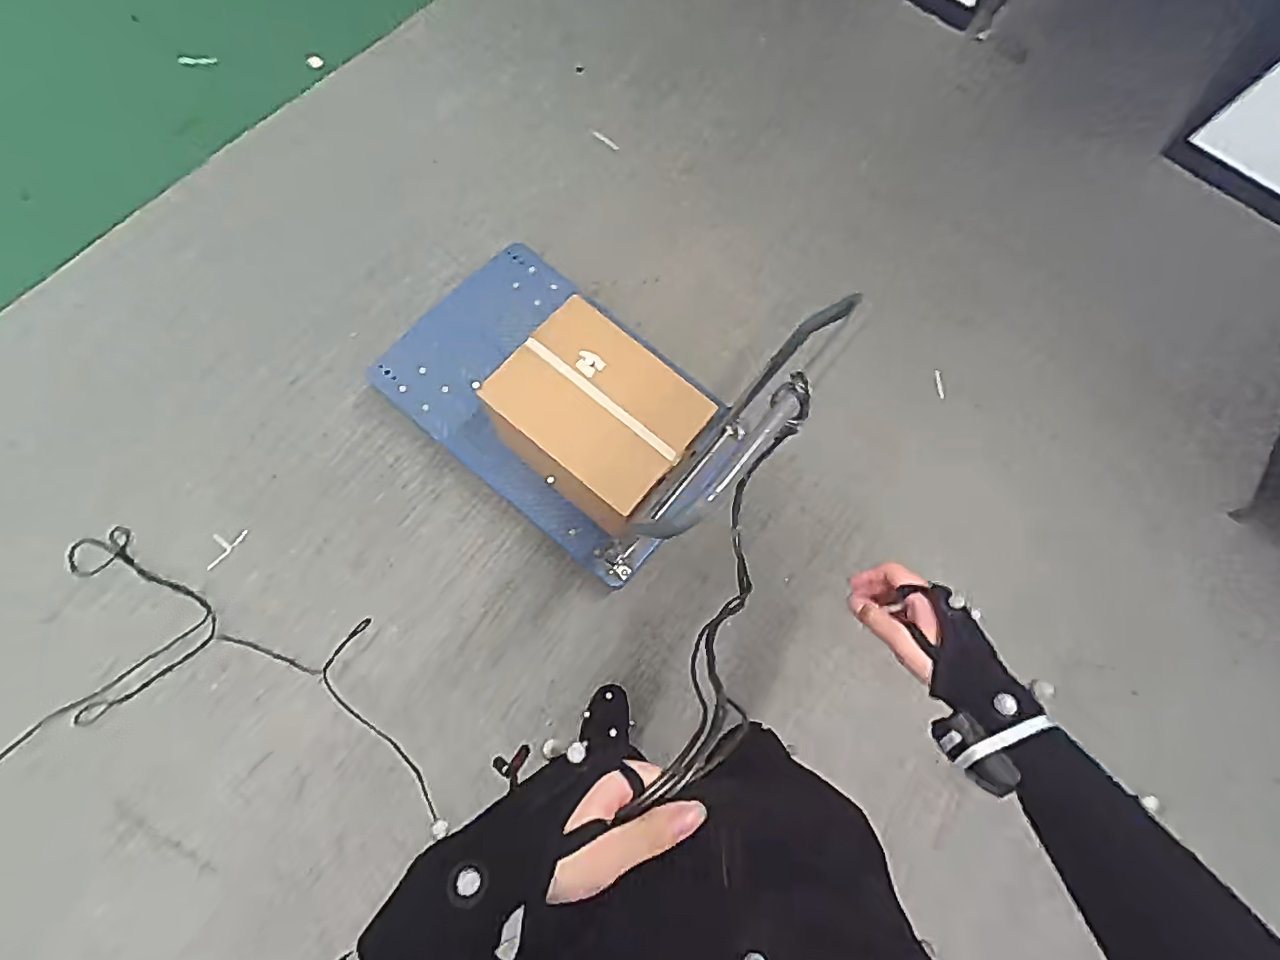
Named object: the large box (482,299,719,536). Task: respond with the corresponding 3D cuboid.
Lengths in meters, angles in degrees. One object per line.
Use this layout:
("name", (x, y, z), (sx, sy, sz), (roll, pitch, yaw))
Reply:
("large box", (-0.085, -0.125, 1.264), (0.408, 0.320, 0.320), (39, 75, 7))
